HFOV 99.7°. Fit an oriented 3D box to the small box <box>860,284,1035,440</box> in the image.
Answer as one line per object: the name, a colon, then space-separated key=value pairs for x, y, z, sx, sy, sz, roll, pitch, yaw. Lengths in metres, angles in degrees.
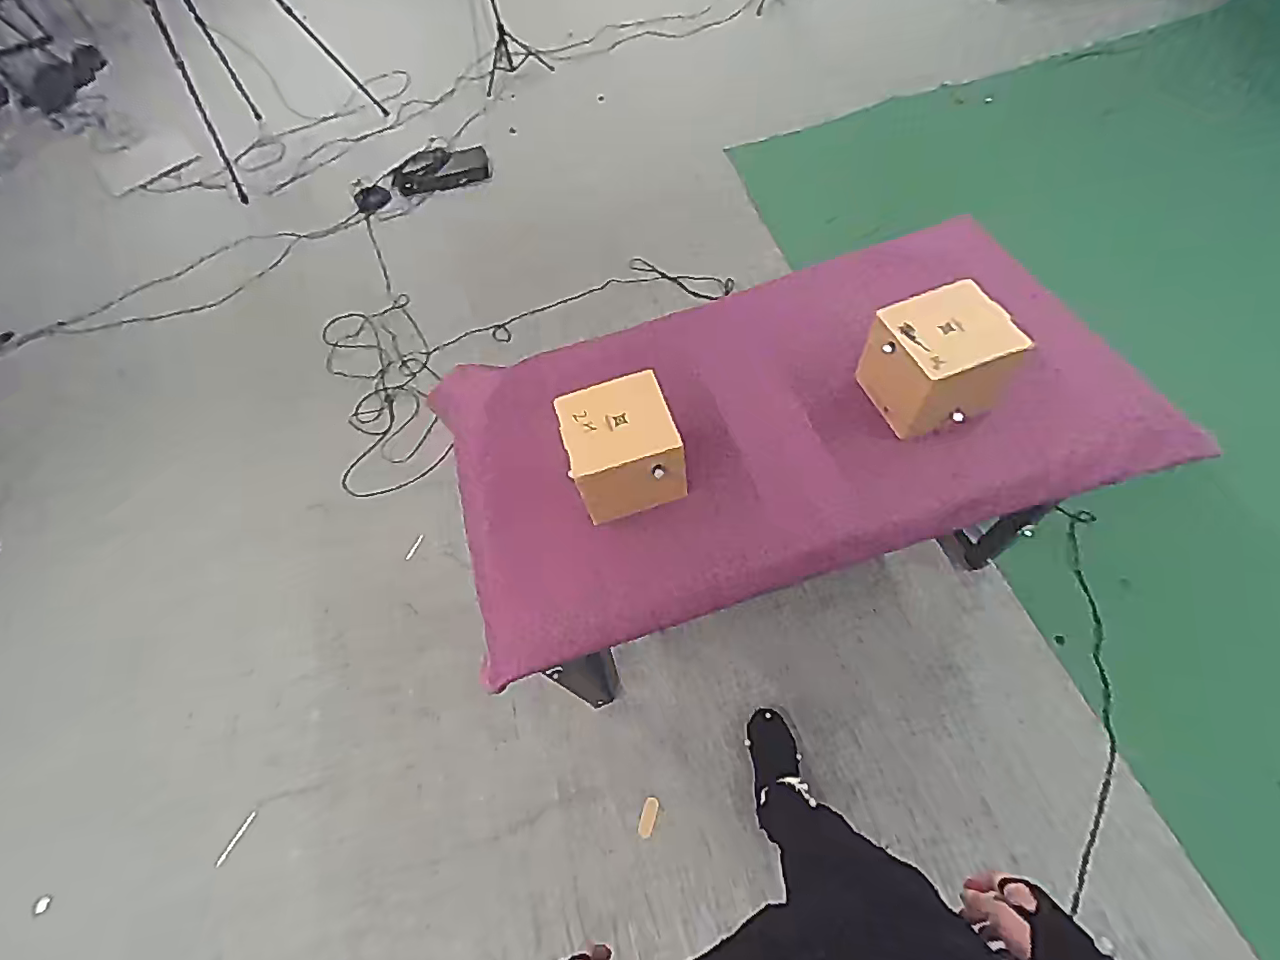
small box: x=0.510 y=-0.197 z=0.929 sx=0.179 sy=0.176 sz=0.168 roll=-19 pitch=59 yaw=-2

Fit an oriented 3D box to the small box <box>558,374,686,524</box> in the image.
small box: x=-0.025 y=-0.048 z=0.930 sx=0.179 sy=0.176 sz=0.168 roll=-17 pitch=59 yaw=-1
